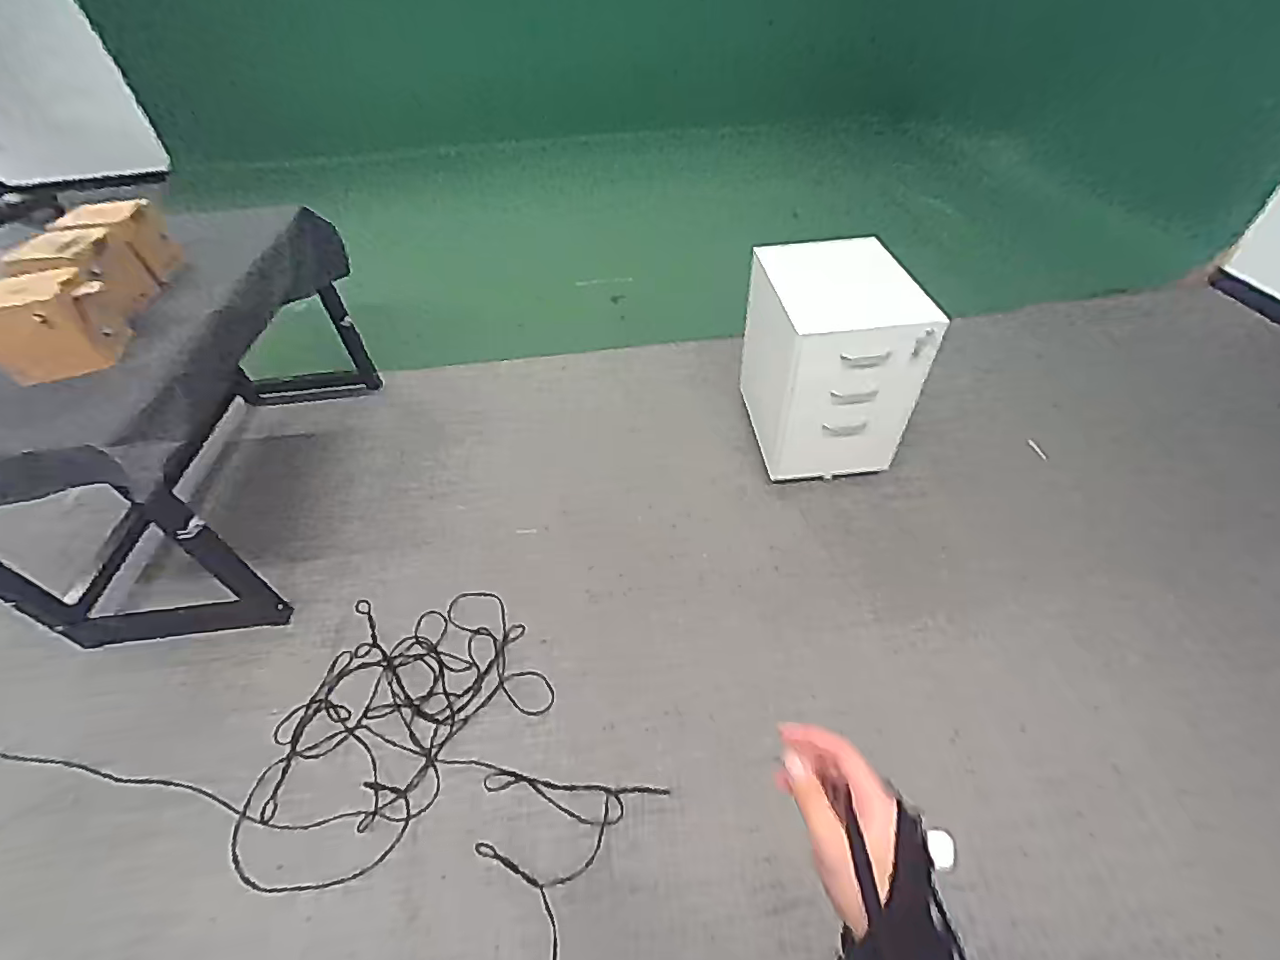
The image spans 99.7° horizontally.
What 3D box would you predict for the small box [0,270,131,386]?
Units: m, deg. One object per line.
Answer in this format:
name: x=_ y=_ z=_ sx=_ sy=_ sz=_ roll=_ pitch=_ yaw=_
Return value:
small box: x=-1.274 y=-0.324 z=1.166 sx=0.179 sy=0.176 sz=0.168 roll=-18 pitch=47 yaw=-13
